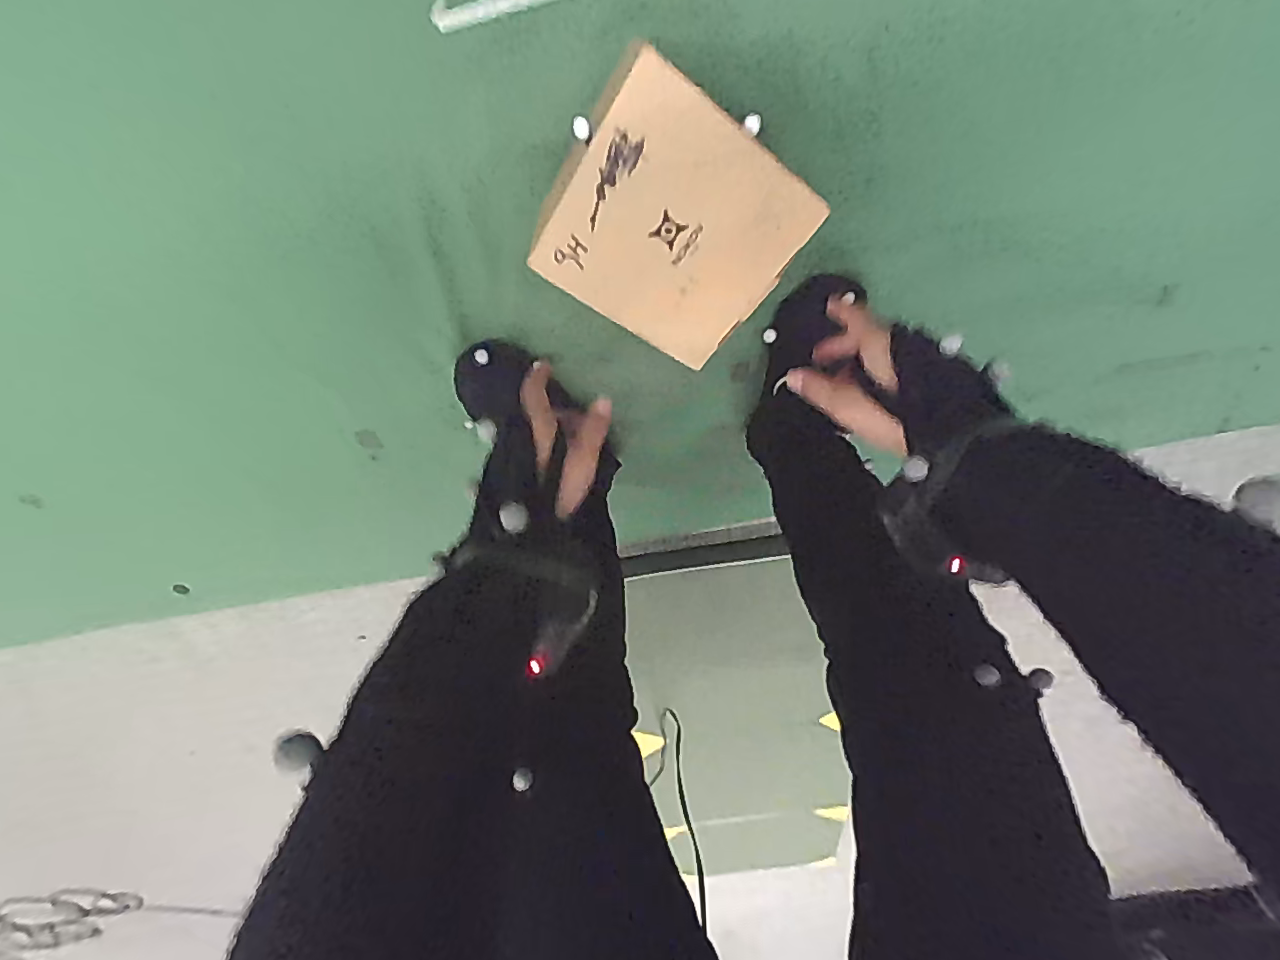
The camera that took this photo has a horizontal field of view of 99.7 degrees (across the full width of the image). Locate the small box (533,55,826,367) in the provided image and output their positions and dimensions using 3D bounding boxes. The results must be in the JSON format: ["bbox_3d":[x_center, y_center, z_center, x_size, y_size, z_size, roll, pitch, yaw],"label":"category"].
[{"bbox_3d":[0.026,-0.241,0.484,0.179,0.176,0.168,26,124,-24],"label":"small box"}]
